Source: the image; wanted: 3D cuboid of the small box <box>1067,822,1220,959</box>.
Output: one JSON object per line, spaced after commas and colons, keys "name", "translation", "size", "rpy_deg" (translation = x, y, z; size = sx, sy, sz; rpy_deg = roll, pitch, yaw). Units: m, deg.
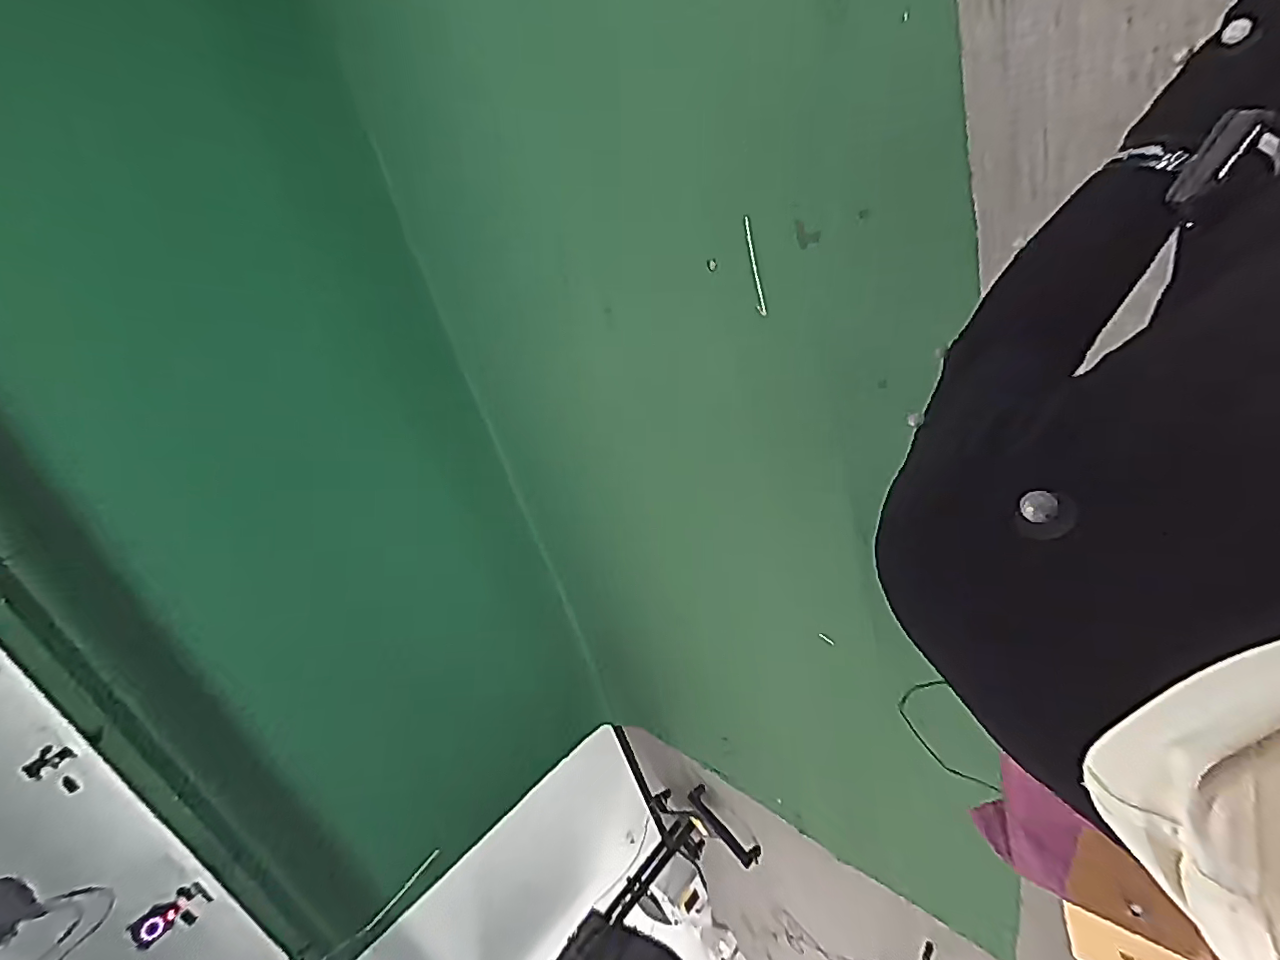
{"name": "small box", "translation": [0.905, 0.764, 0.971], "size": [0.179, 0.176, 0.168], "rpy_deg": [-1, 116, 50]}
